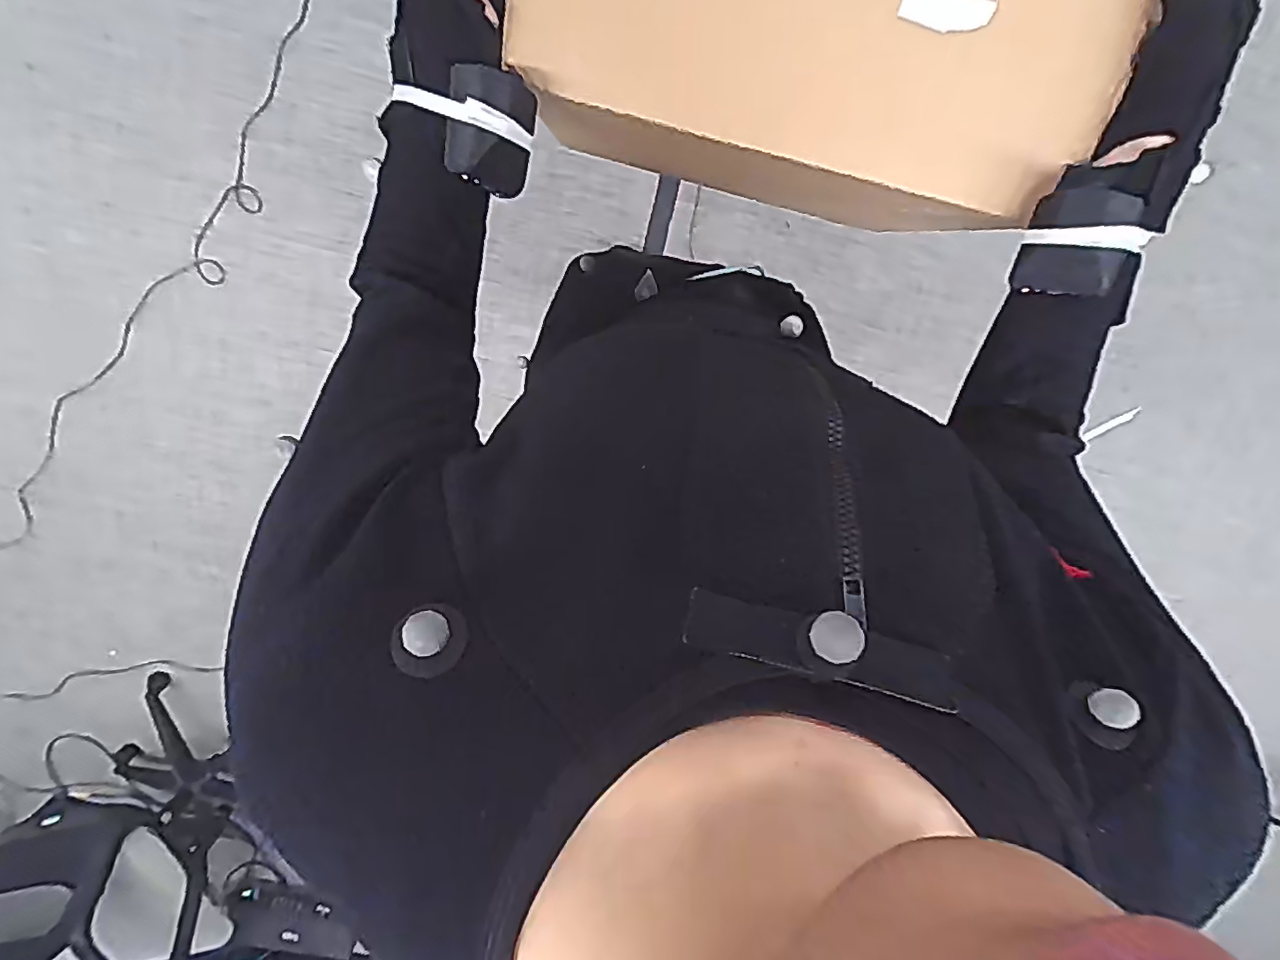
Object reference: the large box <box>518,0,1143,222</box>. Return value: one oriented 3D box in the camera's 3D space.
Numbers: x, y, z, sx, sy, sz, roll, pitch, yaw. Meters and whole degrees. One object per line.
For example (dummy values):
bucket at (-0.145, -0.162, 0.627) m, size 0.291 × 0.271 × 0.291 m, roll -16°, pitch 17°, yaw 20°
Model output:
large box at (0.135, -0.432, 0.460) m, size 0.408 × 0.320 × 0.320 m, roll 11°, pitch 115°, yaw -6°
